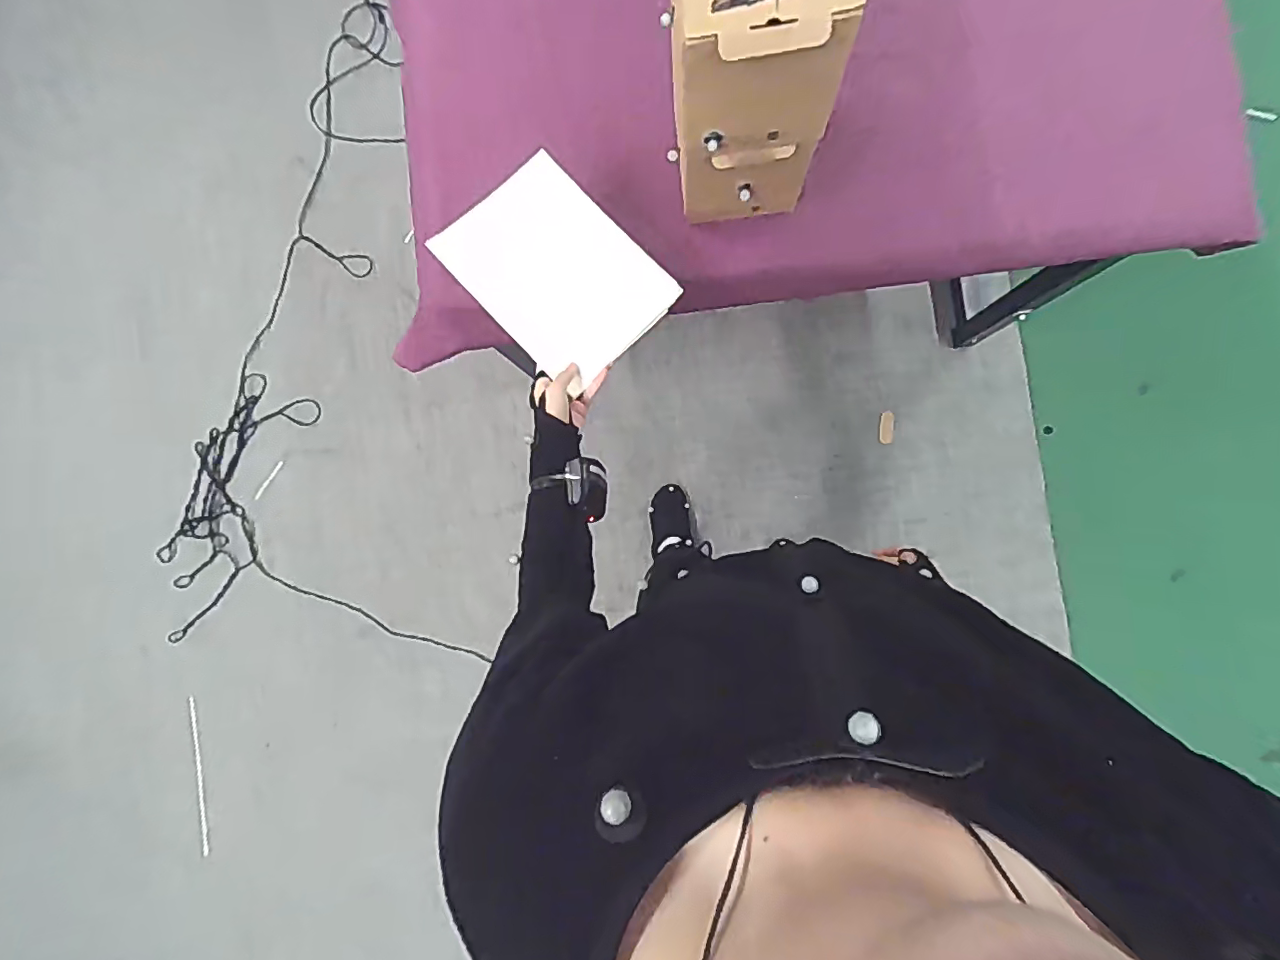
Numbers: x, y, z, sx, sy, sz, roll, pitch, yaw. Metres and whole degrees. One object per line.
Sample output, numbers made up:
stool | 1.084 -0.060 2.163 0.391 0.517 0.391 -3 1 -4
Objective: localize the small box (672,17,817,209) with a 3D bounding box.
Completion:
small box | 0.135 -0.496 0.742 0.168 0.176 0.179 -5 87 5

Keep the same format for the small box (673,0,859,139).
small box | 0.121 -0.498 0.577 0.168 0.176 0.179 -5 85 5
